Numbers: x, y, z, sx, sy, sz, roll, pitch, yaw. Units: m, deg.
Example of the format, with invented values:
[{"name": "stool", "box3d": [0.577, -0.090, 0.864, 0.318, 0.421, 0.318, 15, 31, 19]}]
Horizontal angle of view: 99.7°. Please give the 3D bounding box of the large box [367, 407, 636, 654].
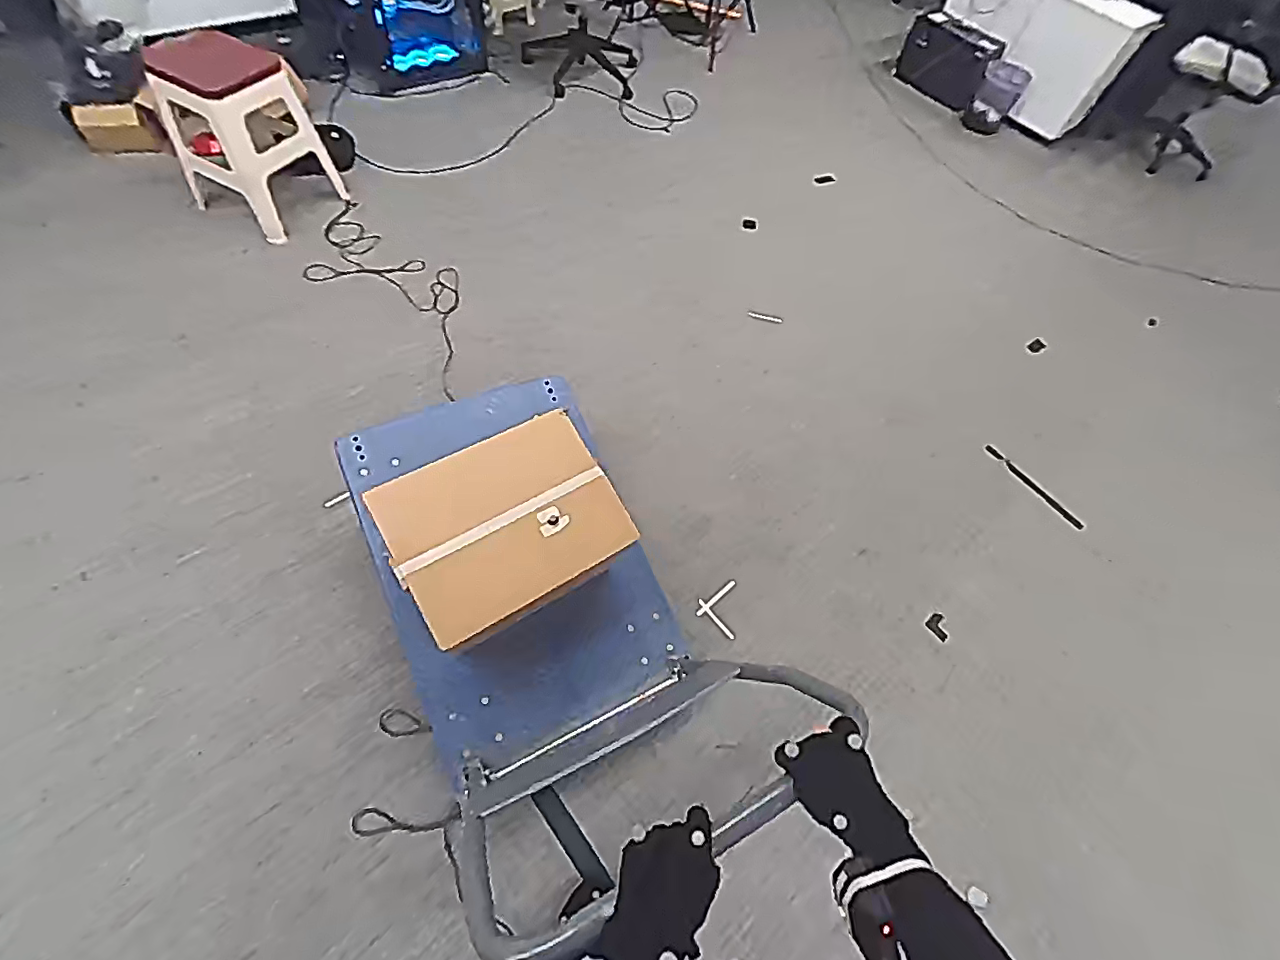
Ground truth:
[{"name": "large box", "box3d": [-0.280, 0.115, 1.137, 0.408, 0.320, 0.320, -29, 80, -23]}]
